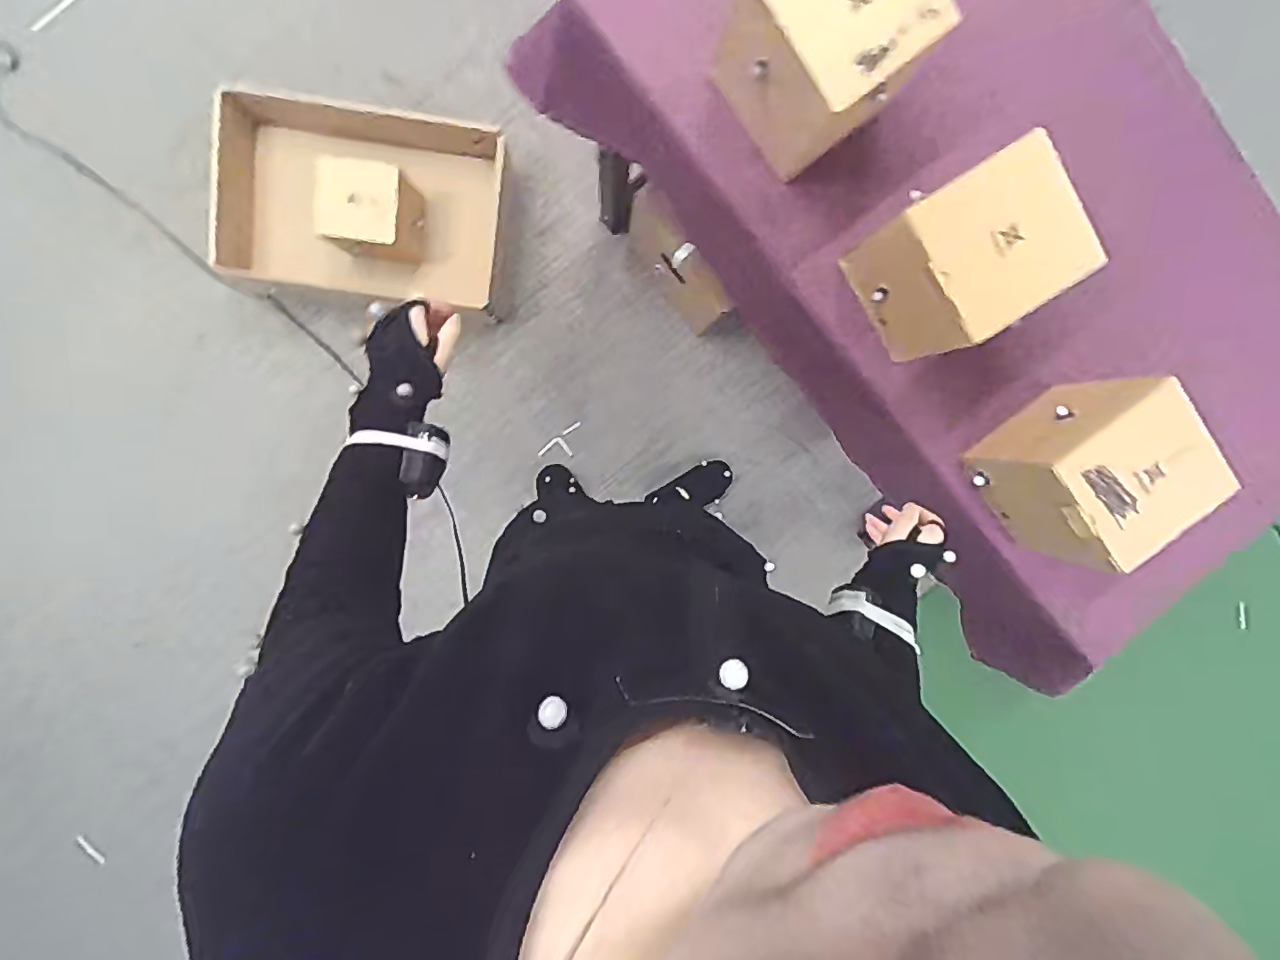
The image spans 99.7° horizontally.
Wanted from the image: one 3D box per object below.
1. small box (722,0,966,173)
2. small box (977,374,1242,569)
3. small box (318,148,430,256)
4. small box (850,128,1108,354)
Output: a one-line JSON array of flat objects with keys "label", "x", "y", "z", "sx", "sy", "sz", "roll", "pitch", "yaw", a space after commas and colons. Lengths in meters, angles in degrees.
[{"label": "small box", "x": 0.217, "y": -0.507, "z": 0.627, "sx": 0.168, "sy": 0.176, "sz": 0.179, "roll": -37, "pitch": 97, "yaw": 2}, {"label": "small box", "x": 0.584, "y": -0.015, "z": 0.704, "sx": 0.179, "sy": 0.176, "sz": 0.168, "roll": -37, "pitch": 97, "yaw": 1}, {"label": "small box", "x": -0.609, "y": -0.632, "z": 1.251, "sx": 0.179, "sy": 0.176, "sz": 0.168, "roll": 7, "pitch": 97, "yaw": -3}, {"label": "small box", "x": 0.399, "y": -0.275, "z": 0.666, "sx": 0.179, "sy": 0.176, "sz": 0.168, "roll": -32, "pitch": 97, "yaw": 2}]
